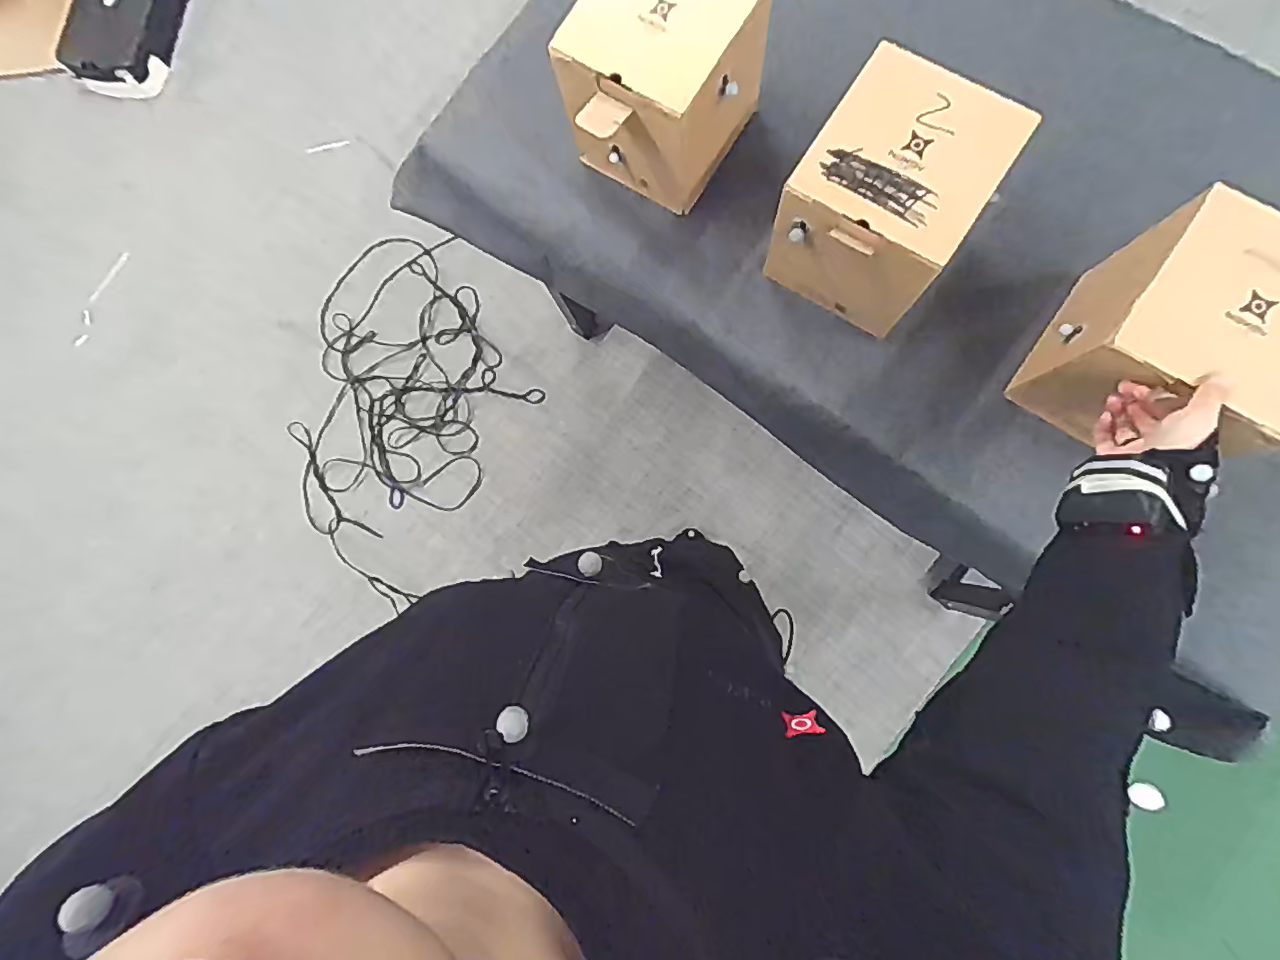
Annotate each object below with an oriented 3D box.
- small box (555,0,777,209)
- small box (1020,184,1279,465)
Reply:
[{"bbox_3d":[0.031,-0.461,0.621,0.168,0.176,0.179,32,88,8],"label":"small box"},{"bbox_3d":[0.525,-0.133,0.533,0.168,0.176,0.179,34,87,8],"label":"small box"}]
